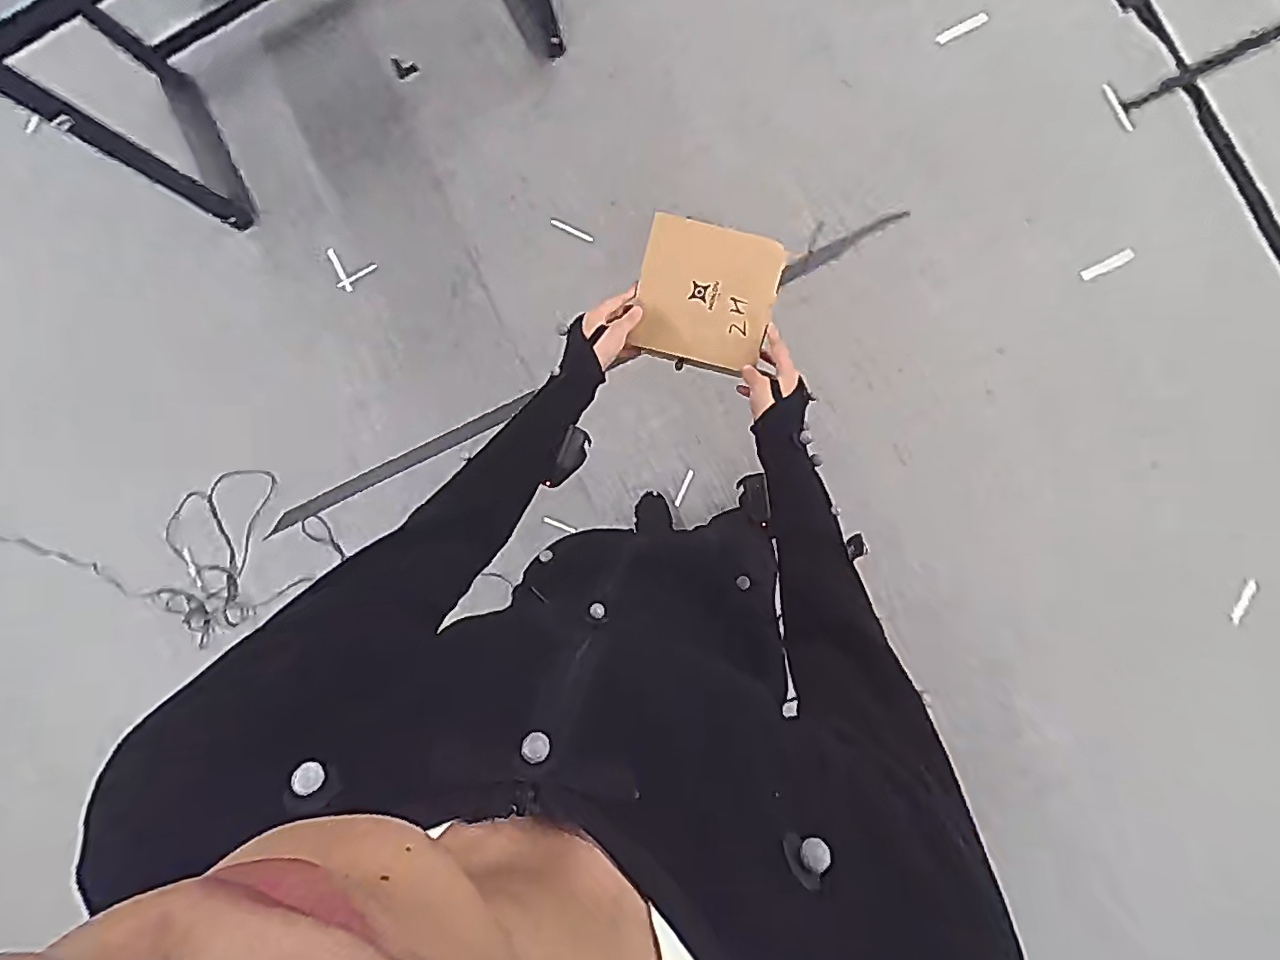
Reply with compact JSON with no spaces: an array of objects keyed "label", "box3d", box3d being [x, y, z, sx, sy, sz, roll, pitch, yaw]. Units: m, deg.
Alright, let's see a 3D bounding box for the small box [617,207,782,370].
[{"label":"small box","box3d":[0.077,-0.252,0.752,0.179,0.176,0.168,14,101,1]}]
